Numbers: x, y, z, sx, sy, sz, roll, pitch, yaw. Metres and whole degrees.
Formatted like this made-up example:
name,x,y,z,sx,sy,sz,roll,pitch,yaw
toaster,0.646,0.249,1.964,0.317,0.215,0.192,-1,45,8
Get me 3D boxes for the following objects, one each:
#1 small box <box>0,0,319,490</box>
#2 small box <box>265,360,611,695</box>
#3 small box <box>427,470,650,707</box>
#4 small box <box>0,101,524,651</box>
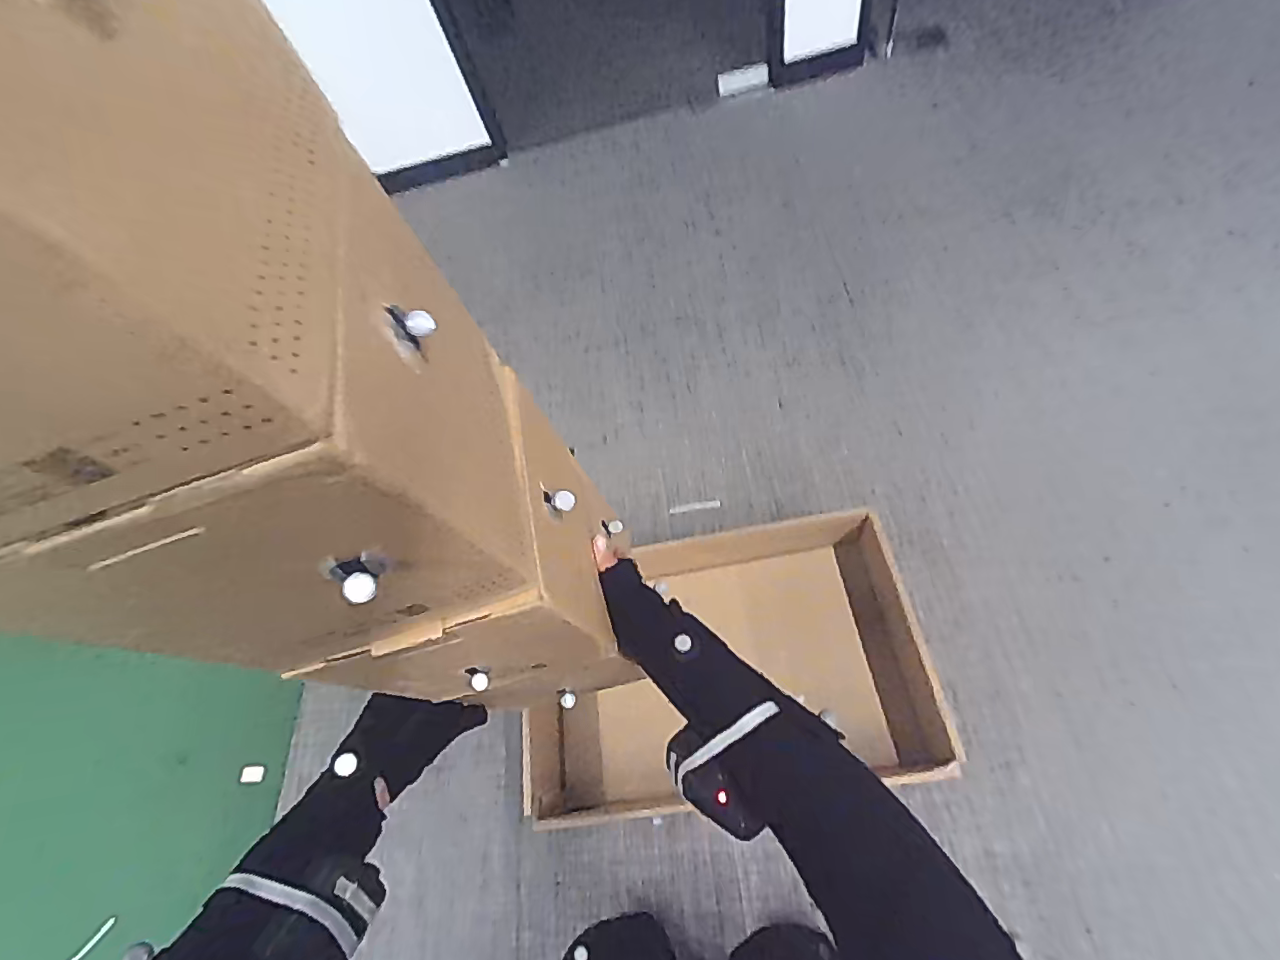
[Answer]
name,x,y,z,sx,sy,sz,roll,pitch,yaw
small box,-0.203,-0.100,0.120,0.168,0.176,0.179,-17,63,3
small box,-0.131,0.047,0.403,0.168,0.176,0.179,-16,62,5
small box,-0.096,0.118,0.545,0.168,0.176,0.179,-15,62,7
small box,-0.169,-0.026,0.262,0.168,0.176,0.179,-17,61,4
